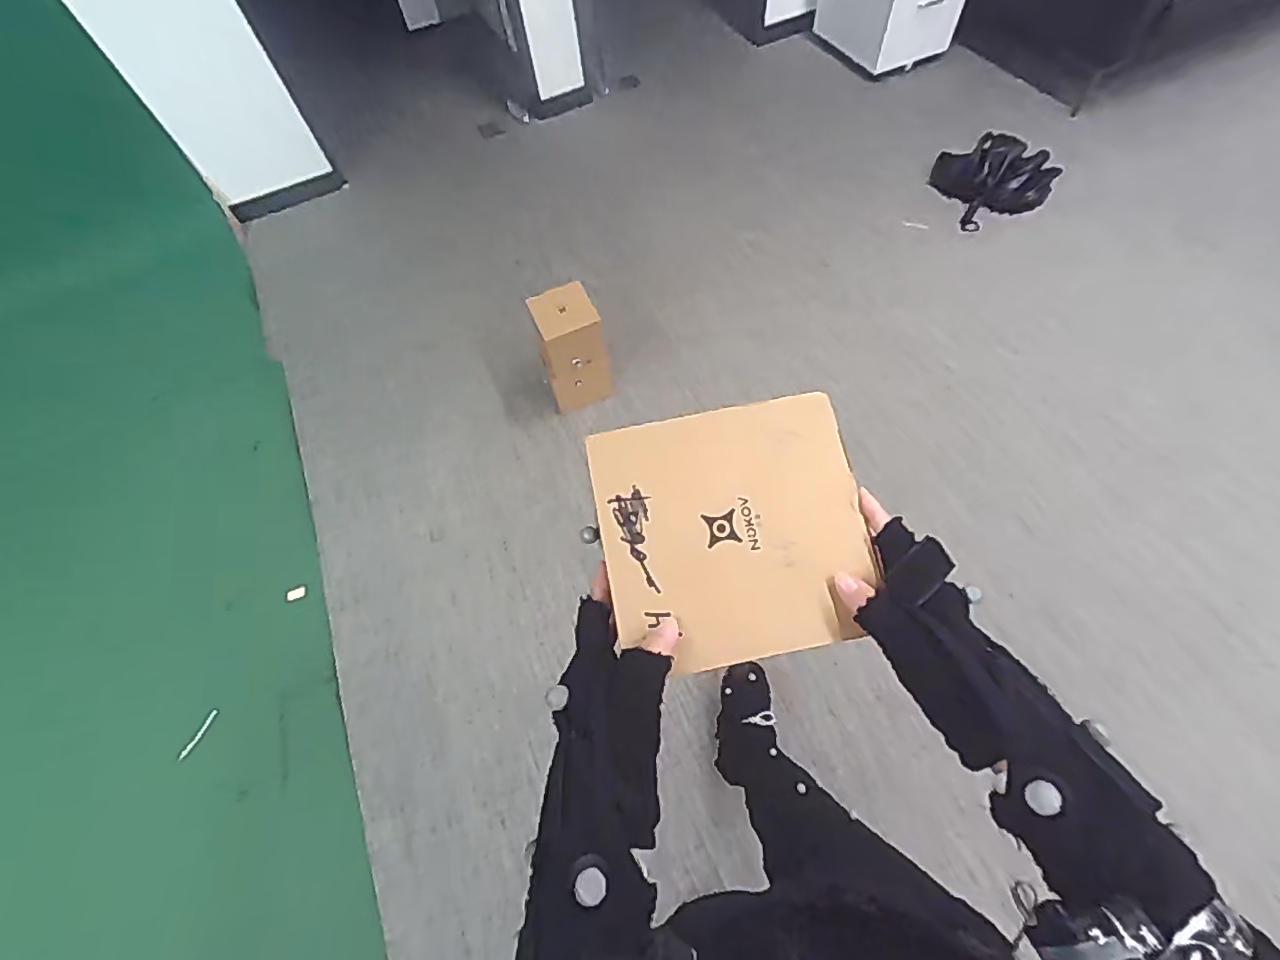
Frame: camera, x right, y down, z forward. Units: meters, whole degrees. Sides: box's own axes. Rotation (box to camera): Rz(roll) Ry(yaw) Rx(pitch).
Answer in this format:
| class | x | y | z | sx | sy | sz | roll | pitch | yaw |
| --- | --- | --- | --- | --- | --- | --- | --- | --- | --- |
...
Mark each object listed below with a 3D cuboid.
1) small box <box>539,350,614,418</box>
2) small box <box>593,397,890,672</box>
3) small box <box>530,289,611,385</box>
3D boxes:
| class | x | y | z | sx | sy | sz | roll | pitch | yaw |
| --- | --- | --- | --- | --- | --- | --- | --- | --- | --- |
| small box | -0.195 | -0.322 | 1.701 | 0.179 | 0.176 | 0.168 | -22 | 61 | -8 |
| small box | 0.063 | 0.052 | 0.441 | 0.179 | 0.176 | 0.168 | -10 | 73 | -3 |
| small box | -0.199 | -0.410 | 1.565 | 0.168 | 0.176 | 0.179 | -24 | 62 | -7 |
